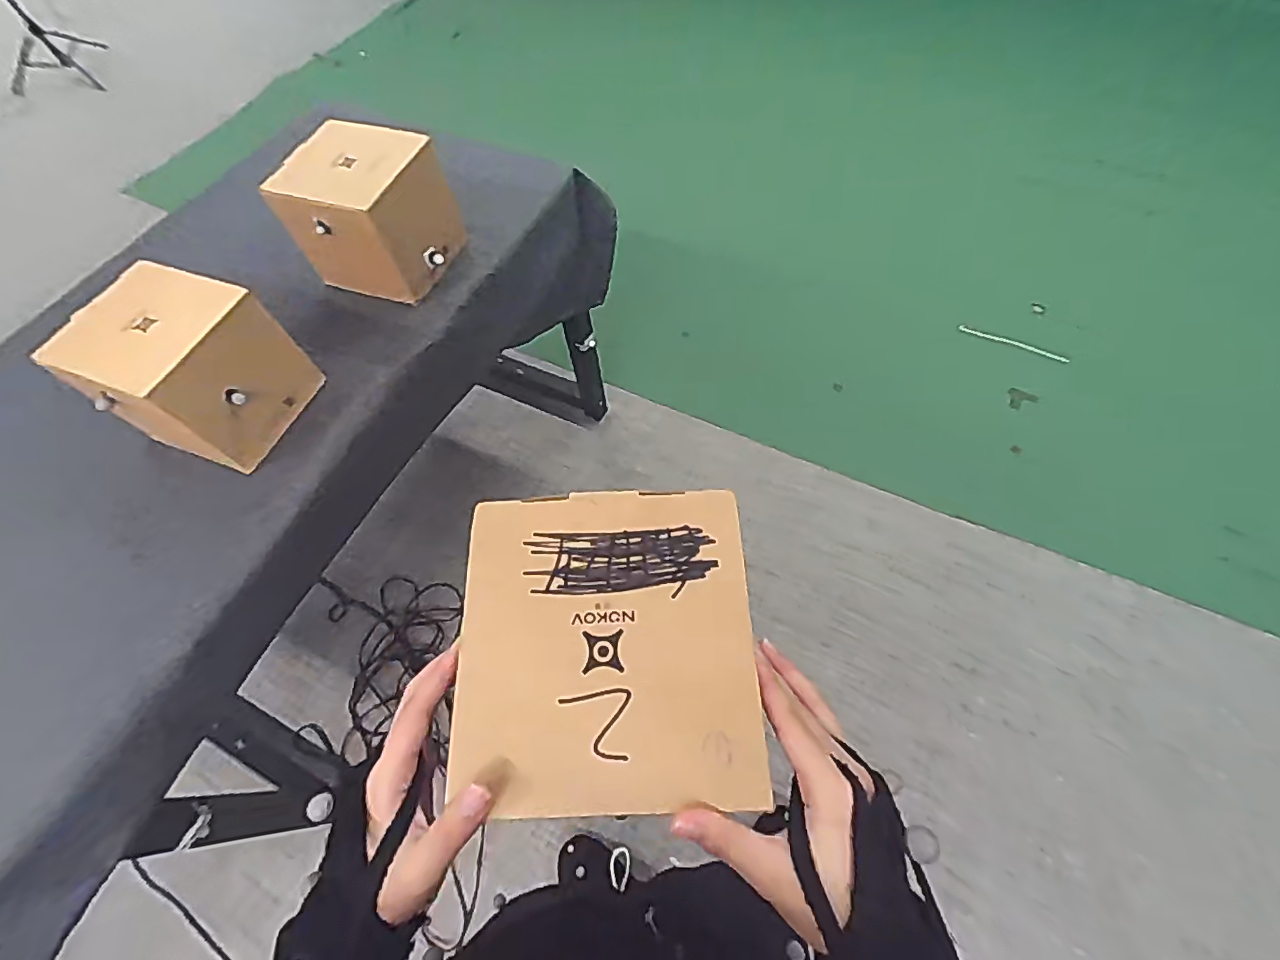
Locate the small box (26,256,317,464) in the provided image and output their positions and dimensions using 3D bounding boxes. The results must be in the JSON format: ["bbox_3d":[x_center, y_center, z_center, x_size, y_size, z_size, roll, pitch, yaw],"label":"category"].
[{"bbox_3d":[-0.554,-0.140,0.672,0.179,0.176,0.168,17,65,12],"label":"small box"}]

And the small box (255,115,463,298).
[{"bbox_3d":[-0.397,-0.396,0.798,0.179,0.176,0.168,16,66,11],"label":"small box"}]
